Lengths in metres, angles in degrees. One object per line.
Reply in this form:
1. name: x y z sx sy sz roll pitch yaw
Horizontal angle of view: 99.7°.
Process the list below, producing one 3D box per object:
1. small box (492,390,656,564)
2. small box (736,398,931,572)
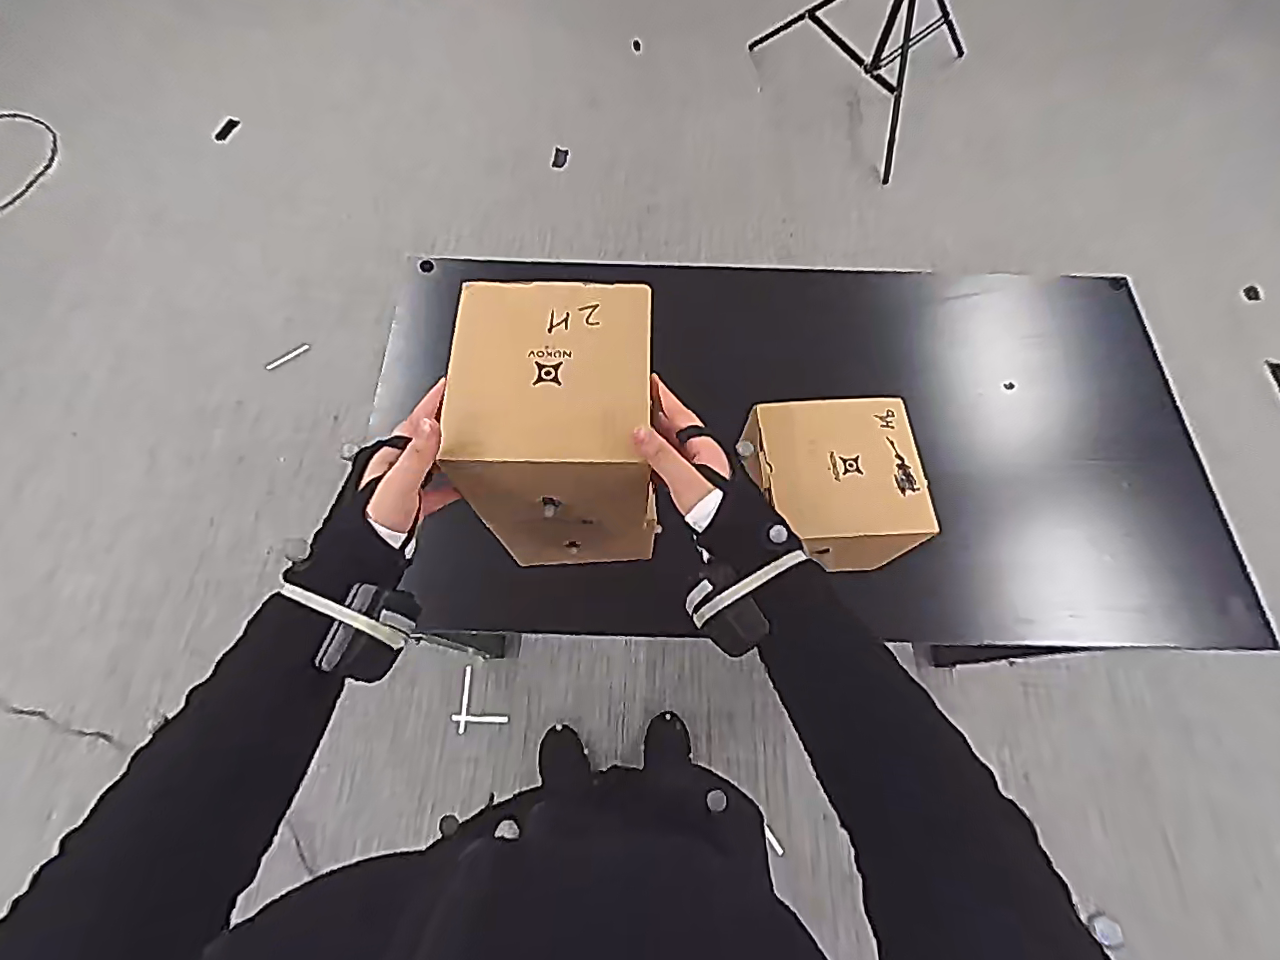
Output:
1. small box: -0.075 0.004 0.675 0.179 0.176 0.168 -3 67 -1
2. small box: 0.220 0.015 0.675 0.179 0.176 0.168 -3 67 -1
